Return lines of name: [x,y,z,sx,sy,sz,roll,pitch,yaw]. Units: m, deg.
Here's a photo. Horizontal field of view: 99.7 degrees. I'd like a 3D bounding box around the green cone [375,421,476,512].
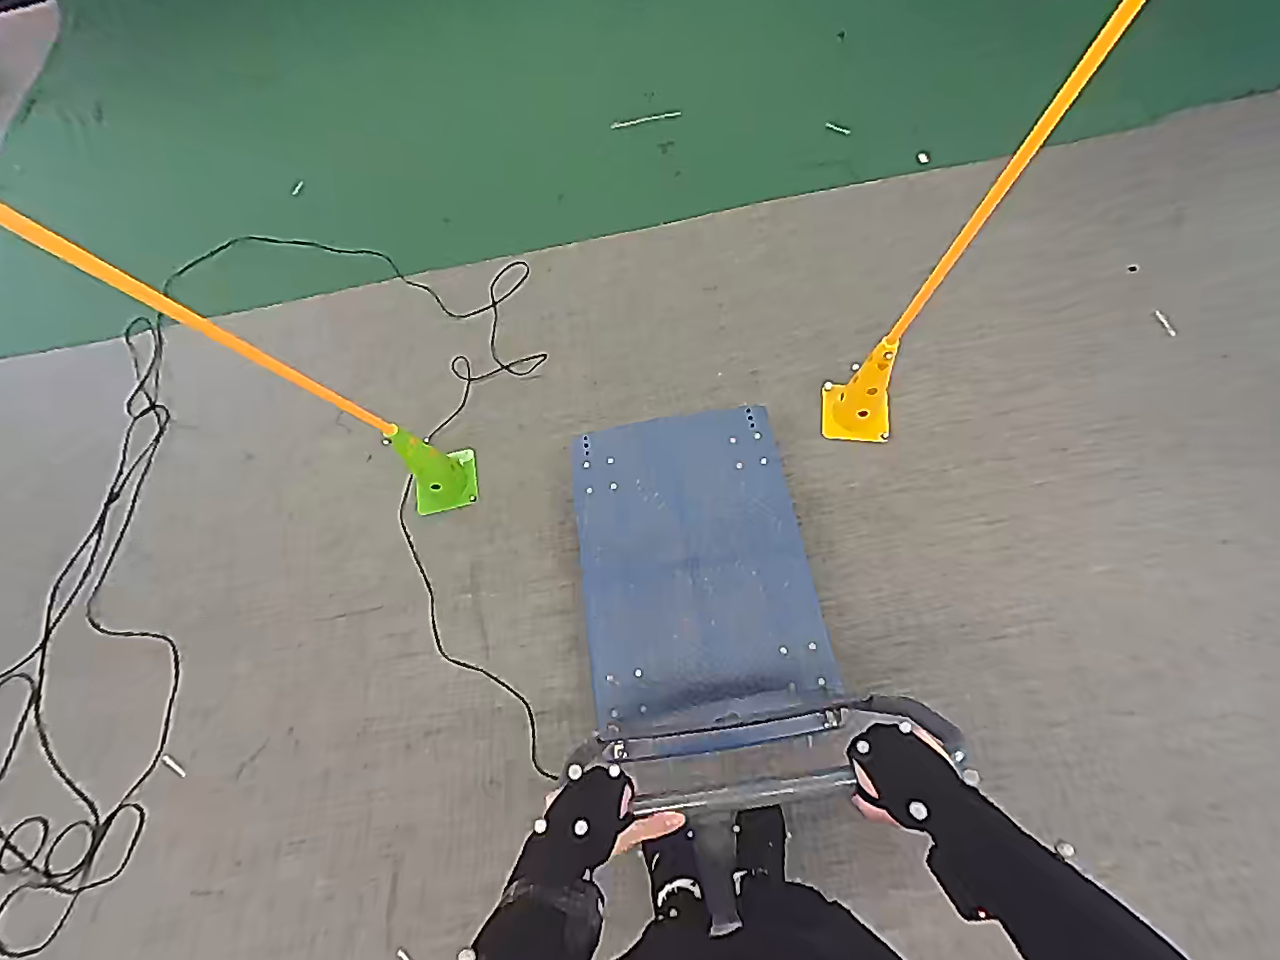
green cone: [-0.656,-0.074,1.593,0.202,0.368,0.200,-15,65,2]
